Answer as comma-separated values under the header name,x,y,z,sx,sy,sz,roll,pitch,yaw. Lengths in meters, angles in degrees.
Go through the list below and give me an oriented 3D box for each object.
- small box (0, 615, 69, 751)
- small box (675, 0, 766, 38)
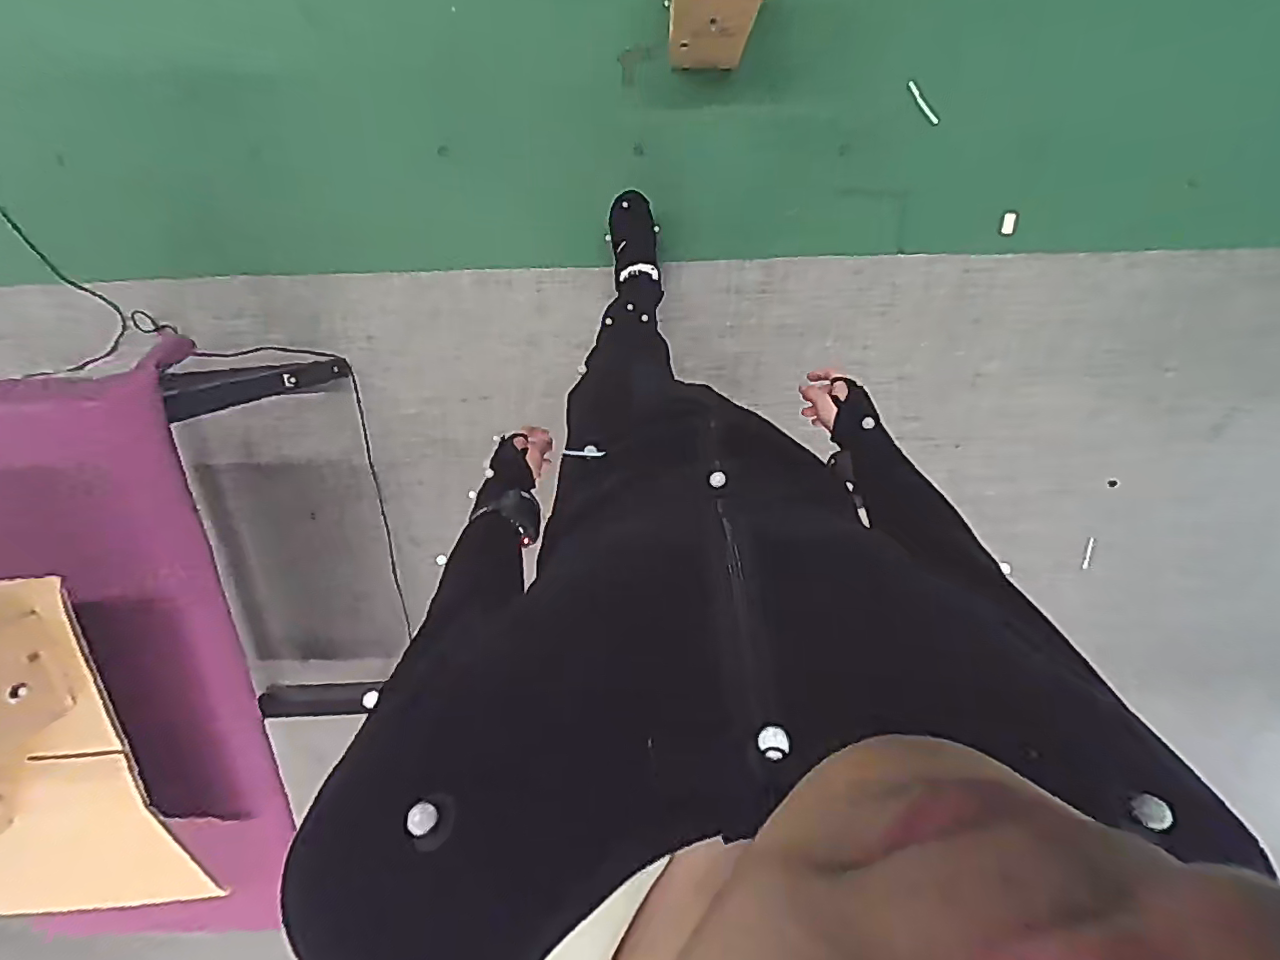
name,x,y,z,sx,sy,sz,roll,pitch,yaw
small box,-0.941,0.294,0.714,0.179,0.176,0.168,-5,105,1
small box,0.155,-0.992,1.034,0.168,0.176,0.179,1,108,1
